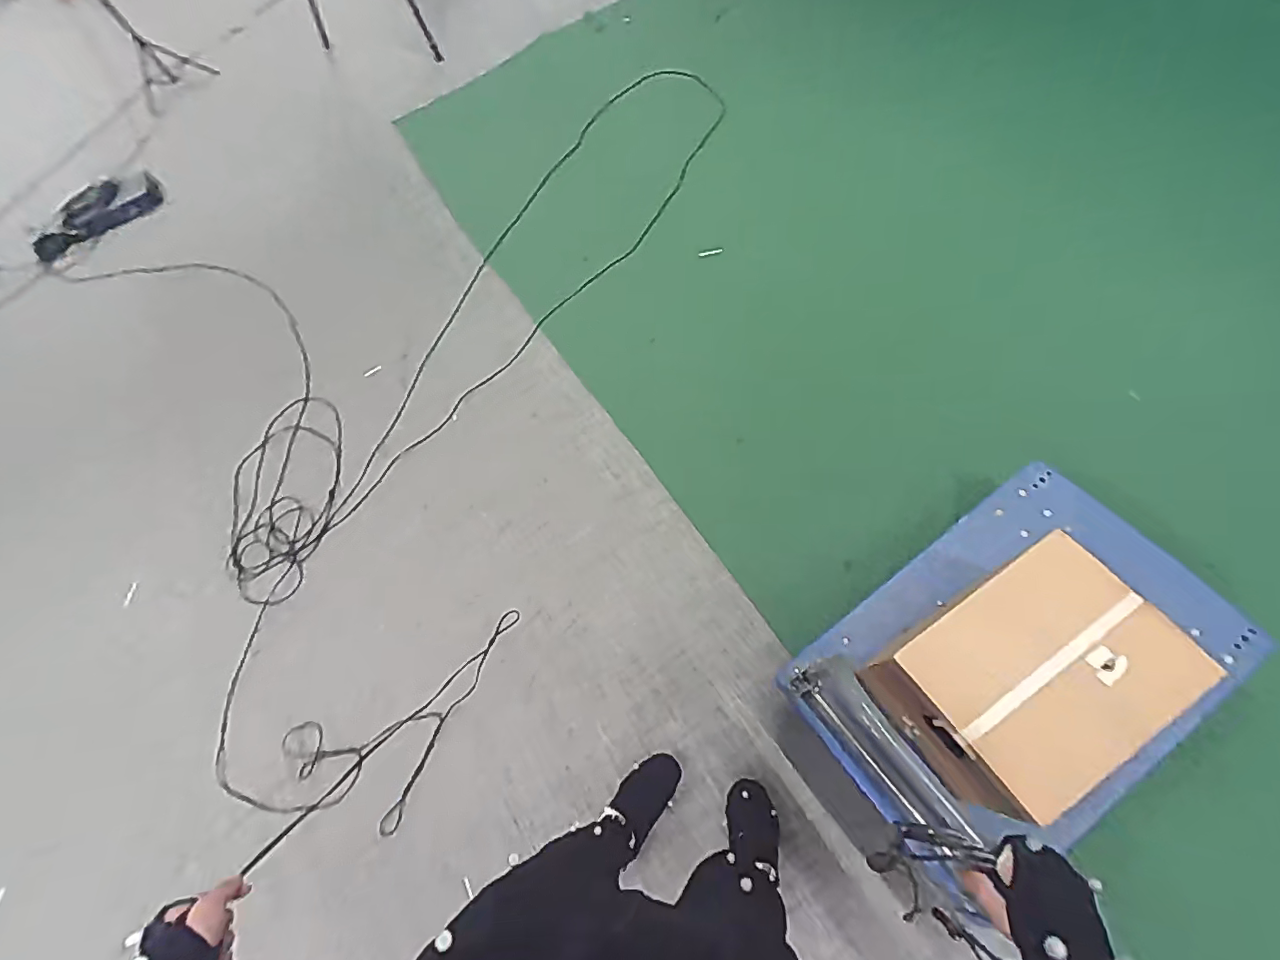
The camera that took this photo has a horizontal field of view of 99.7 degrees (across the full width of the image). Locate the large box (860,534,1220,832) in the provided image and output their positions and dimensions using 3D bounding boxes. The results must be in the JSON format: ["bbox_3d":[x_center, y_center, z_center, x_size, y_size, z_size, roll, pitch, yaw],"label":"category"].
[{"bbox_3d":[0.708,0.380,1.036,0.408,0.320,0.320,-33,65,-7],"label":"large box"}]
